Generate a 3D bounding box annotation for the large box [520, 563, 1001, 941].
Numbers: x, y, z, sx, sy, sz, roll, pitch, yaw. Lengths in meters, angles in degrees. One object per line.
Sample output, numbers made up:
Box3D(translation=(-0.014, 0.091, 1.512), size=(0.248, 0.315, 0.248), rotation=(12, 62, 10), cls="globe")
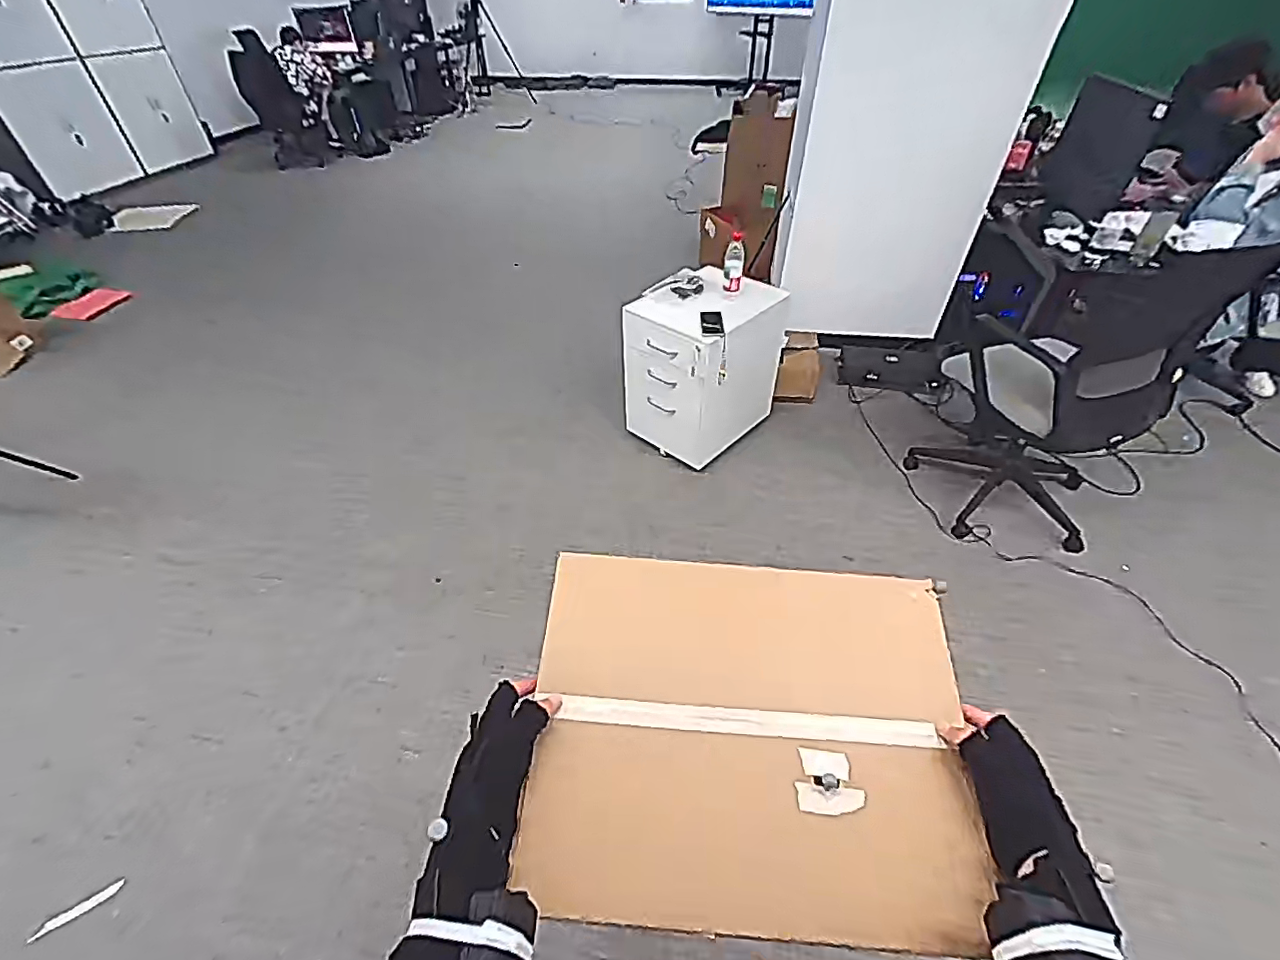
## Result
Box3D(translation=(0.101, 0.311, 0.644), size=(0.408, 0.320, 0.320), rotation=(4, 59, 1), cls="large box")
